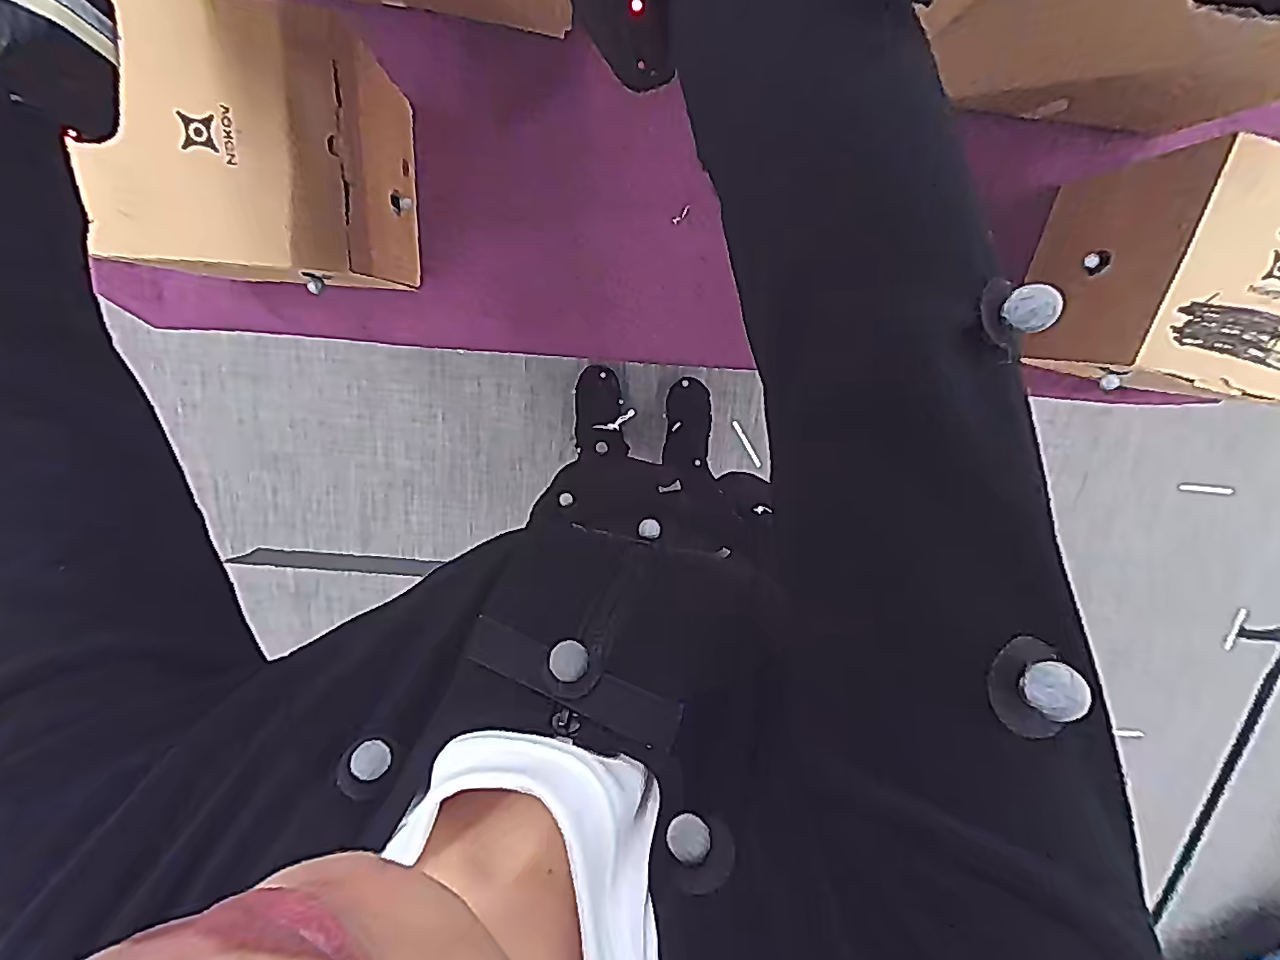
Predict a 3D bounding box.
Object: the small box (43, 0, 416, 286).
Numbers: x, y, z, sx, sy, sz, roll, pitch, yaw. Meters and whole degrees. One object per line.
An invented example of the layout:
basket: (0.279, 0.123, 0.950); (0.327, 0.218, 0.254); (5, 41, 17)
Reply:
small box: (-0.303, -0.255, 0.445); (0.179, 0.176, 0.168); (1, 106, -6)
